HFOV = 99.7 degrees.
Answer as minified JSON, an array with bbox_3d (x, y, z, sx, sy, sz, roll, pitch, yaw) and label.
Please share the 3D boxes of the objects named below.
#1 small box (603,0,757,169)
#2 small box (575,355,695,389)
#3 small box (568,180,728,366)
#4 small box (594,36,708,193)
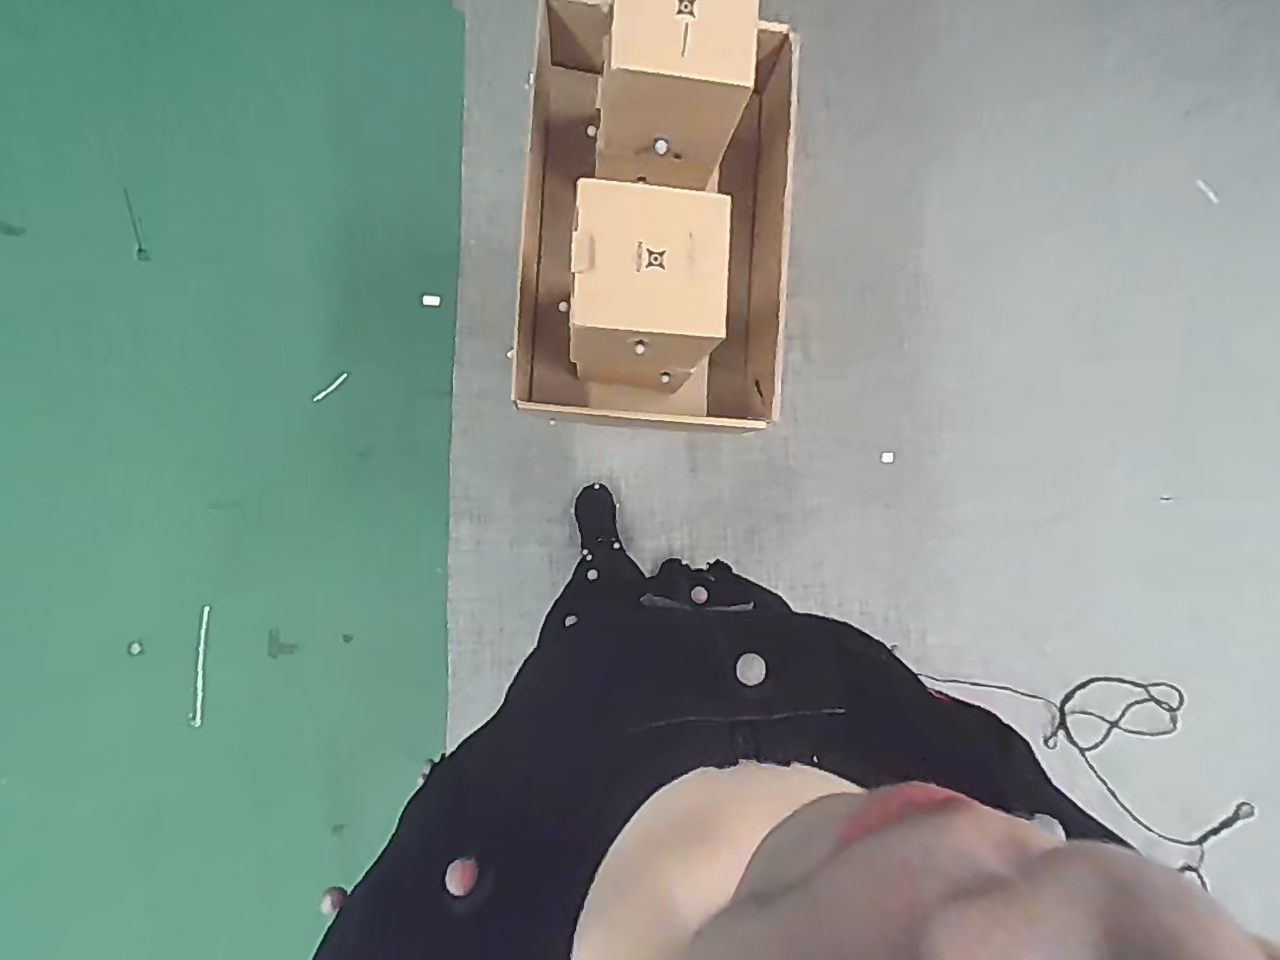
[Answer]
[{"bbox_3d":[0.041,-0.537,0.688,0.168,0.176,0.179,3,91,-7],"label":"small box"},{"bbox_3d":[-0.008,-0.246,0.846,0.179,0.176,0.168,7,88,-7],"label":"small box"},{"bbox_3d":[0.001,-0.246,0.685,0.179,0.176,0.168,2,90,-8],"label":"small box"},{"bbox_3d":[0.020,-0.541,0.851,0.179,0.176,0.168,4,90,-6],"label":"small box"}]
